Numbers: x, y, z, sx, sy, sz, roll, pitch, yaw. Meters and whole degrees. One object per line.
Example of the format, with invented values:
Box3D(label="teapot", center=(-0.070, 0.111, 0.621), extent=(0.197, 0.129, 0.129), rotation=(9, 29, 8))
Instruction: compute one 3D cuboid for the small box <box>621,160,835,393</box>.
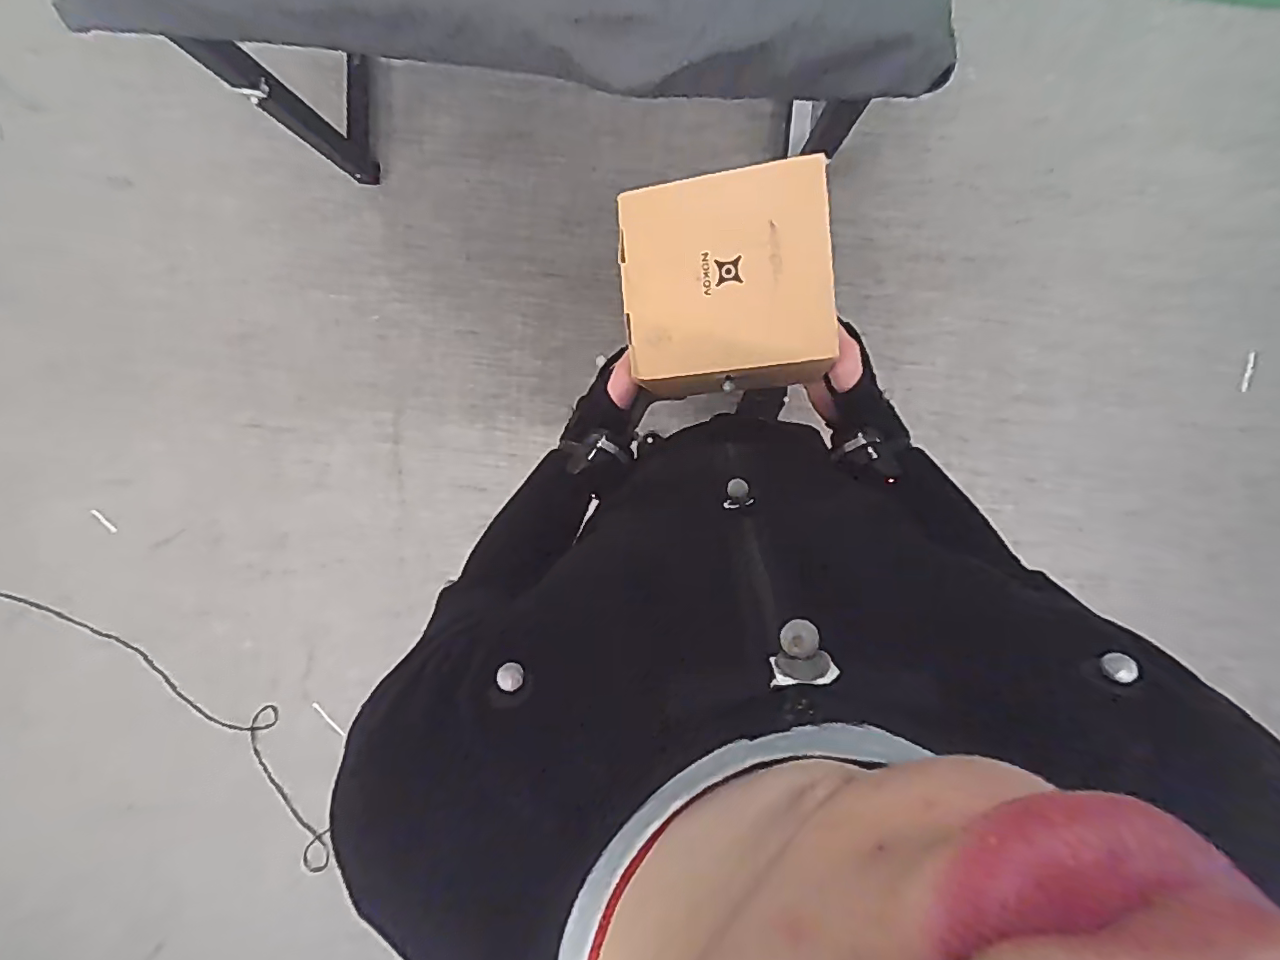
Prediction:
Box3D(label="small box", center=(0.089, -0.184, 0.546), extent=(0.179, 0.176, 0.168), rotation=(-5, 93, 11))
